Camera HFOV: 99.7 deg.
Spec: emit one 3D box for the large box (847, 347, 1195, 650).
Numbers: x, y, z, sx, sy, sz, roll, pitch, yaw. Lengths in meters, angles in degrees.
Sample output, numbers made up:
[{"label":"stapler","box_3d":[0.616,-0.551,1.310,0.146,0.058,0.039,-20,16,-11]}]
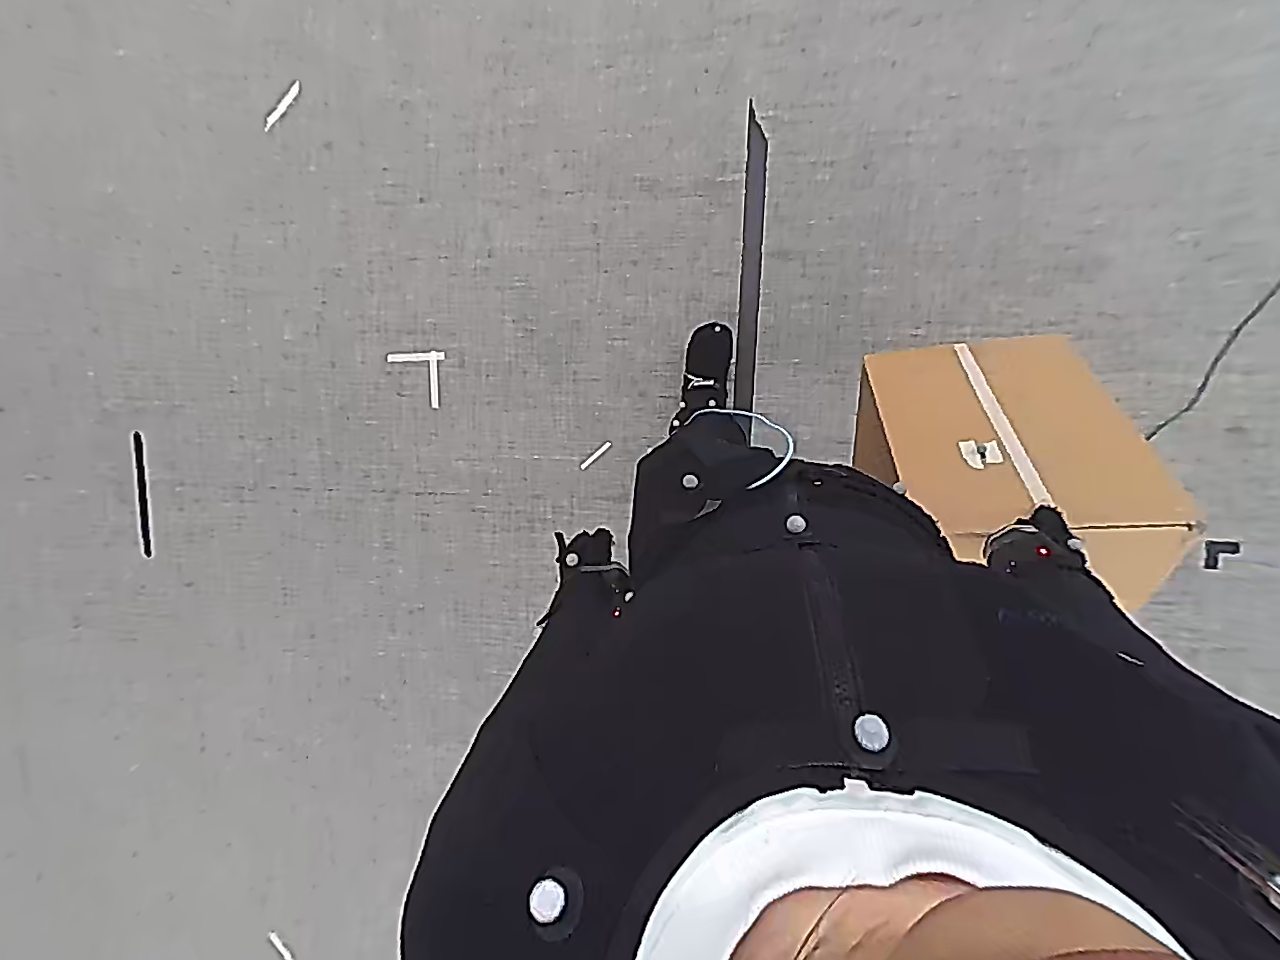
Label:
[{"label":"large box","box_3d":[0.552,0.030,0.906,0.320,0.408,0.320,-4,136,13]}]
